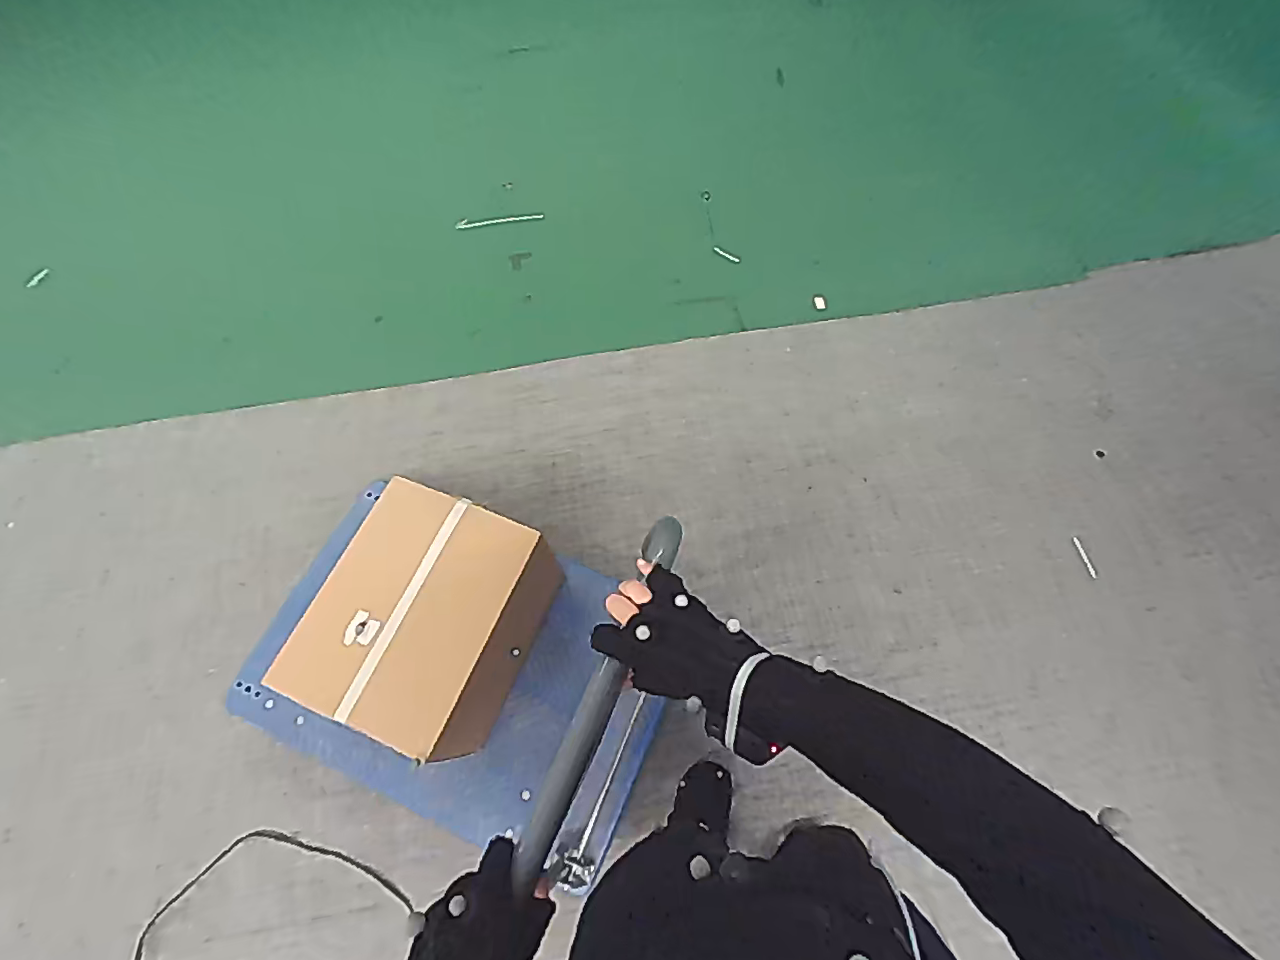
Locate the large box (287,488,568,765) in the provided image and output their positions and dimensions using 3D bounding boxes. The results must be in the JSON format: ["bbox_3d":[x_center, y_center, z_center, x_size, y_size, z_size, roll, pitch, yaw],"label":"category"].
[{"bbox_3d":[-0.378,0.288,1.084,0.320,0.320,0.408,19,69,11],"label":"large box"}]
